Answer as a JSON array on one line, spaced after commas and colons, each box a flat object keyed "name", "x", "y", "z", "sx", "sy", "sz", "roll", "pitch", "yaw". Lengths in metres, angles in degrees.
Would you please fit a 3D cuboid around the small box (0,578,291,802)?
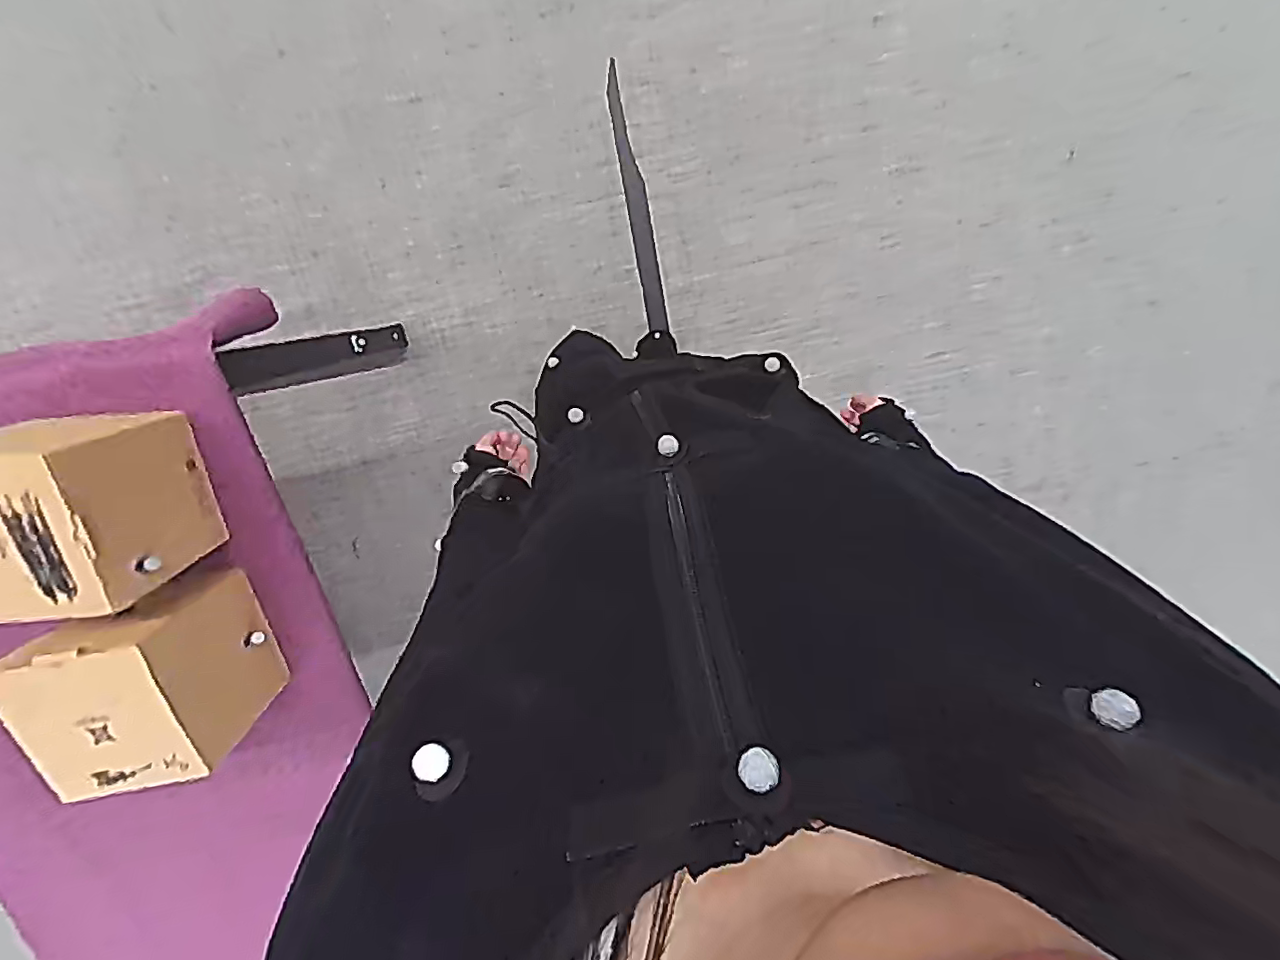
[{"name": "small box", "x": -0.562, "y": 0.231, "z": 0.639, "sx": 0.168, "sy": 0.176, "sz": 0.179, "roll": -11, "pitch": 108, "yaw": 0}]
